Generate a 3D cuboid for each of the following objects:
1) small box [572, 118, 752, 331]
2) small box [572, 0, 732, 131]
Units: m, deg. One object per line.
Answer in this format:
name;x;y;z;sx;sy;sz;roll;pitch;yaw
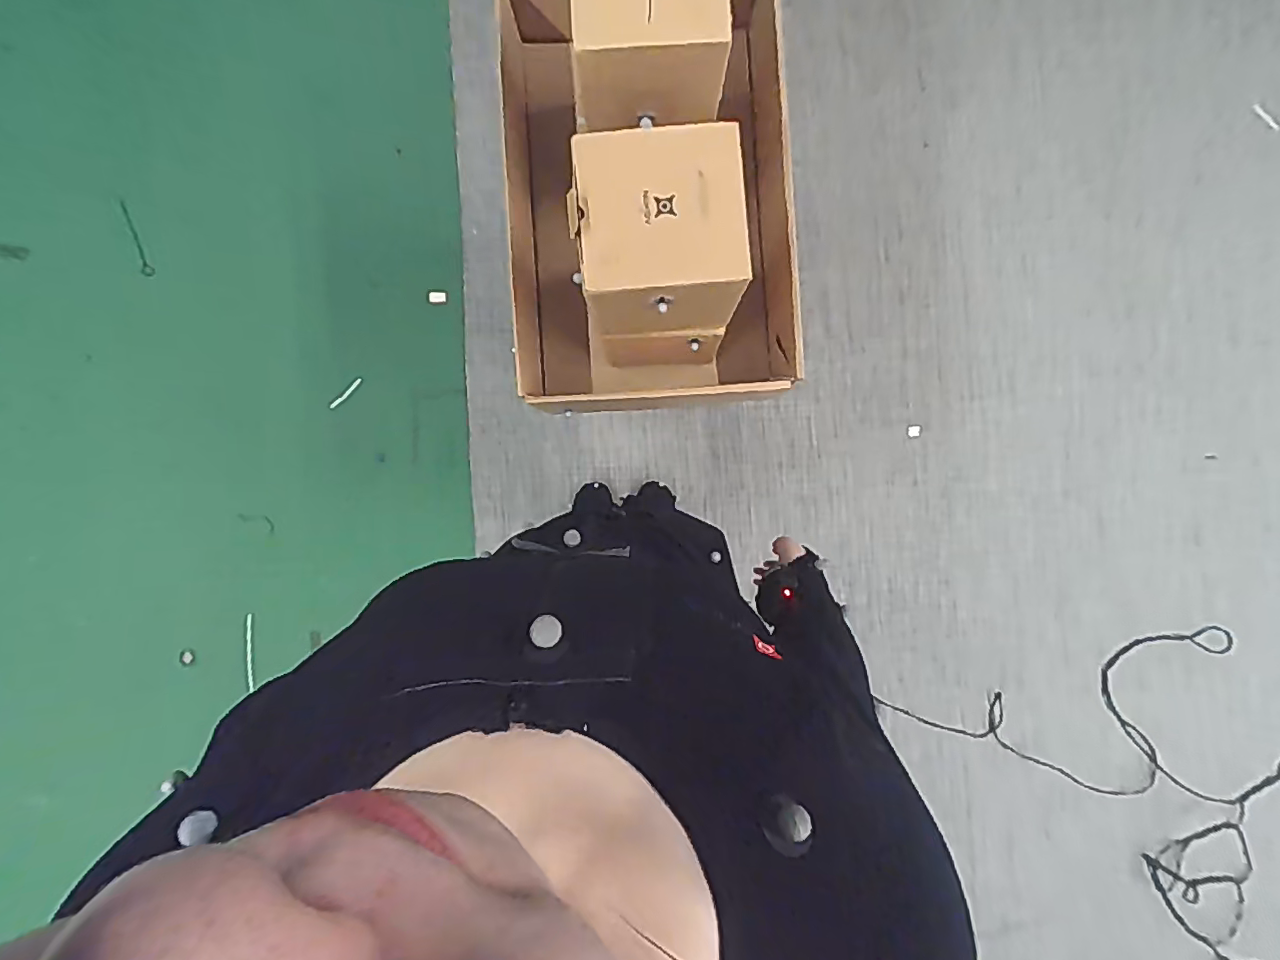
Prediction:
small box;0.024;-0.282;0.635;0.179;0.176;0.168;-5;90;0
small box;0.009;-0.535;0.630;0.168;0.176;0.179;-3;93;1
